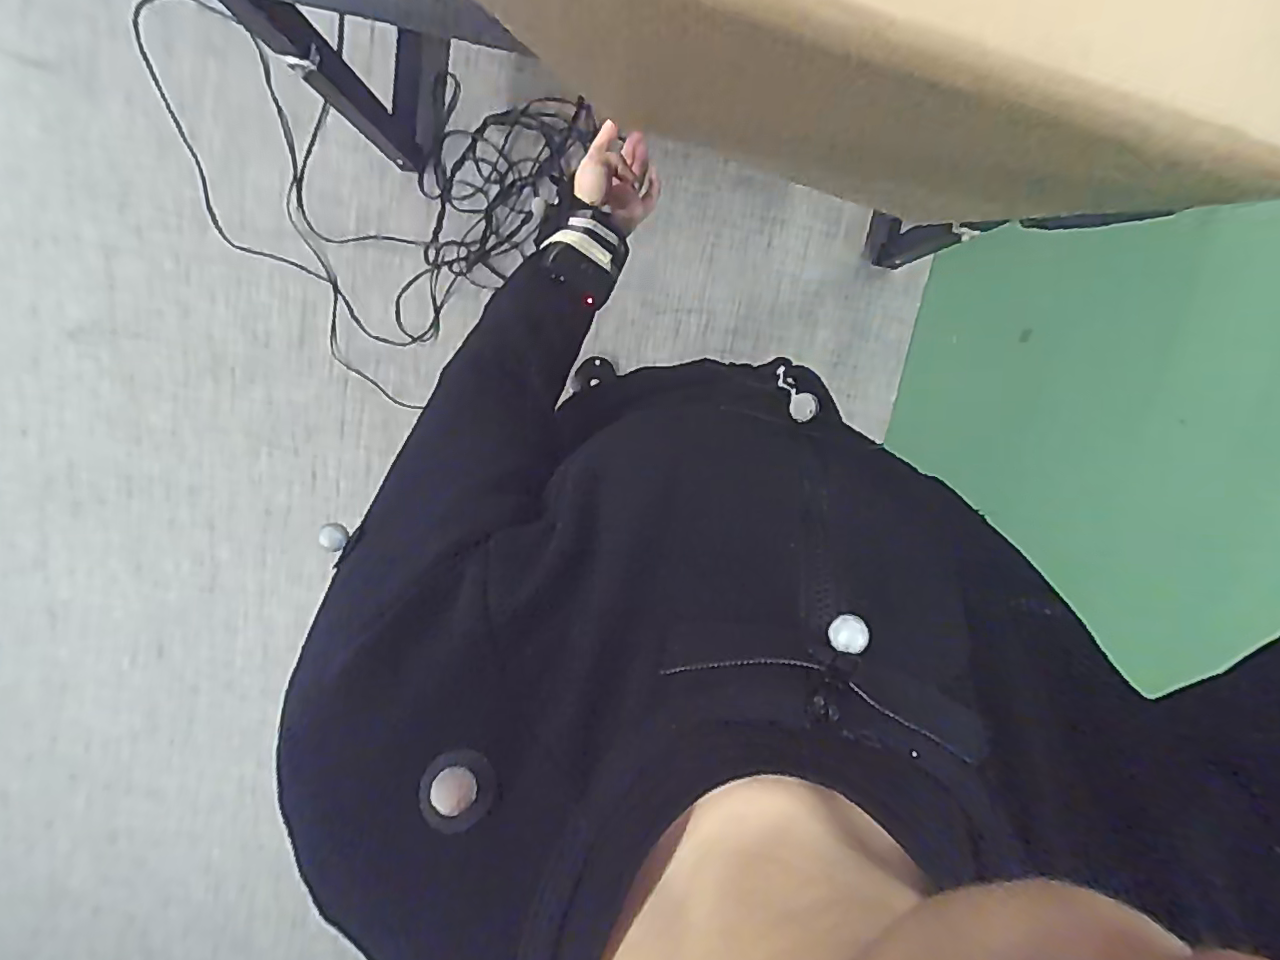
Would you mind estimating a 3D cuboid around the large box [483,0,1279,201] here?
[{"bbox_3d":[0.123,-0.355,0.275,0.320,0.408,0.320,18,117,0],"label":"large box"}]
